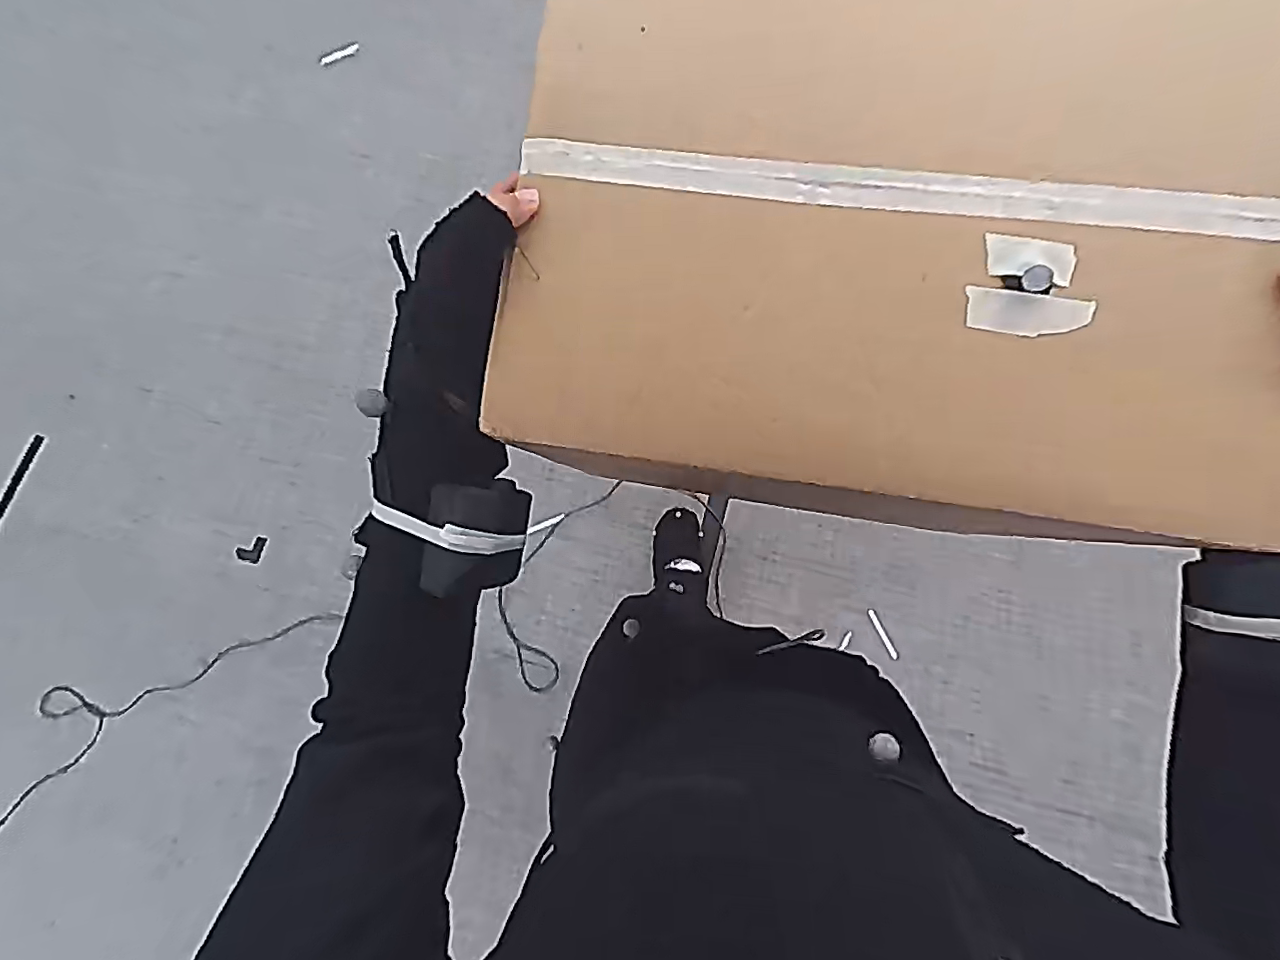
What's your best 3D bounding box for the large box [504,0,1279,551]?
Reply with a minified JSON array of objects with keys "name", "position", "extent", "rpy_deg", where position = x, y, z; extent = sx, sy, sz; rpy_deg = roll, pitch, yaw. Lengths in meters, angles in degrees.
[{"name":"large box","position":[0.147,-0.129,0.445],"extent":[0.408,0.320,0.320],"rpy_deg":[8,88,5]}]
